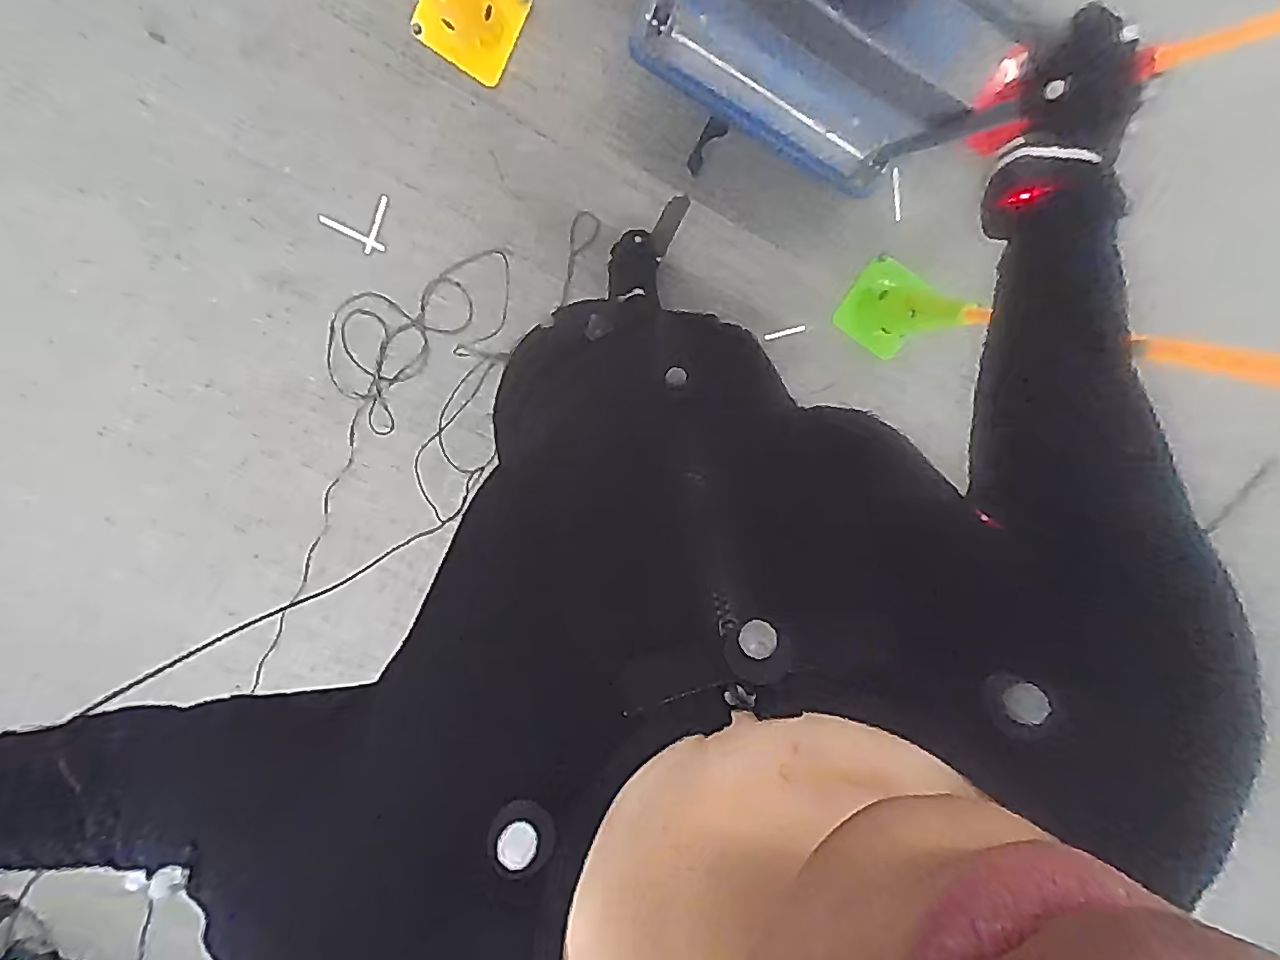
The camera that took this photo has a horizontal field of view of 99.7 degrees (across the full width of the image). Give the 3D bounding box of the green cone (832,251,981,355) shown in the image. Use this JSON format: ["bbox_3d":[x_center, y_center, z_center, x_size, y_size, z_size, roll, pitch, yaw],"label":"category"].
[{"bbox_3d":[0.620,-0.382,1.202,0.202,0.368,0.200,29,106,-13],"label":"green cone"}]

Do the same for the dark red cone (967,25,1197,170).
[{"bbox_3d":[0.862,-0.774,1.050,0.201,0.394,0.202,25,108,-13],"label":"dark red cone"}]
